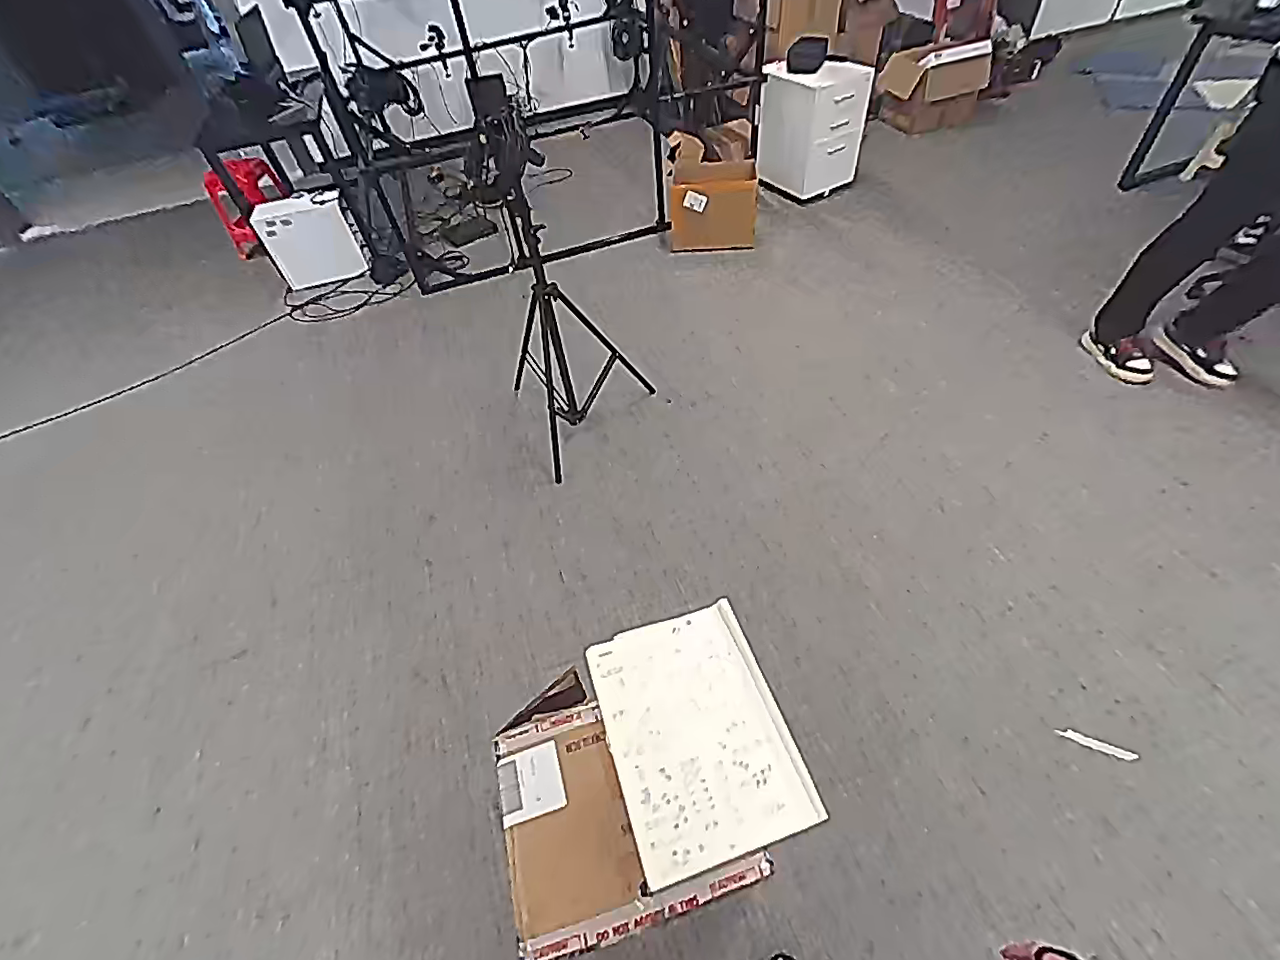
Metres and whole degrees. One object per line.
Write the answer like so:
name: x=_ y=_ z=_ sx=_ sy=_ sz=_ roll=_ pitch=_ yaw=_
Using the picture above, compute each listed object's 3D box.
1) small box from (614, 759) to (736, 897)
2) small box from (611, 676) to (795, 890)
small box: x=0.072 y=0.486 z=0.803 sx=0.179 sy=0.176 sz=0.168 roll=-19 pitch=51 yaw=-11
small box: x=0.067 y=0.380 z=0.678 sx=0.168 sy=0.176 sz=0.179 roll=-16 pitch=52 yaw=-9
